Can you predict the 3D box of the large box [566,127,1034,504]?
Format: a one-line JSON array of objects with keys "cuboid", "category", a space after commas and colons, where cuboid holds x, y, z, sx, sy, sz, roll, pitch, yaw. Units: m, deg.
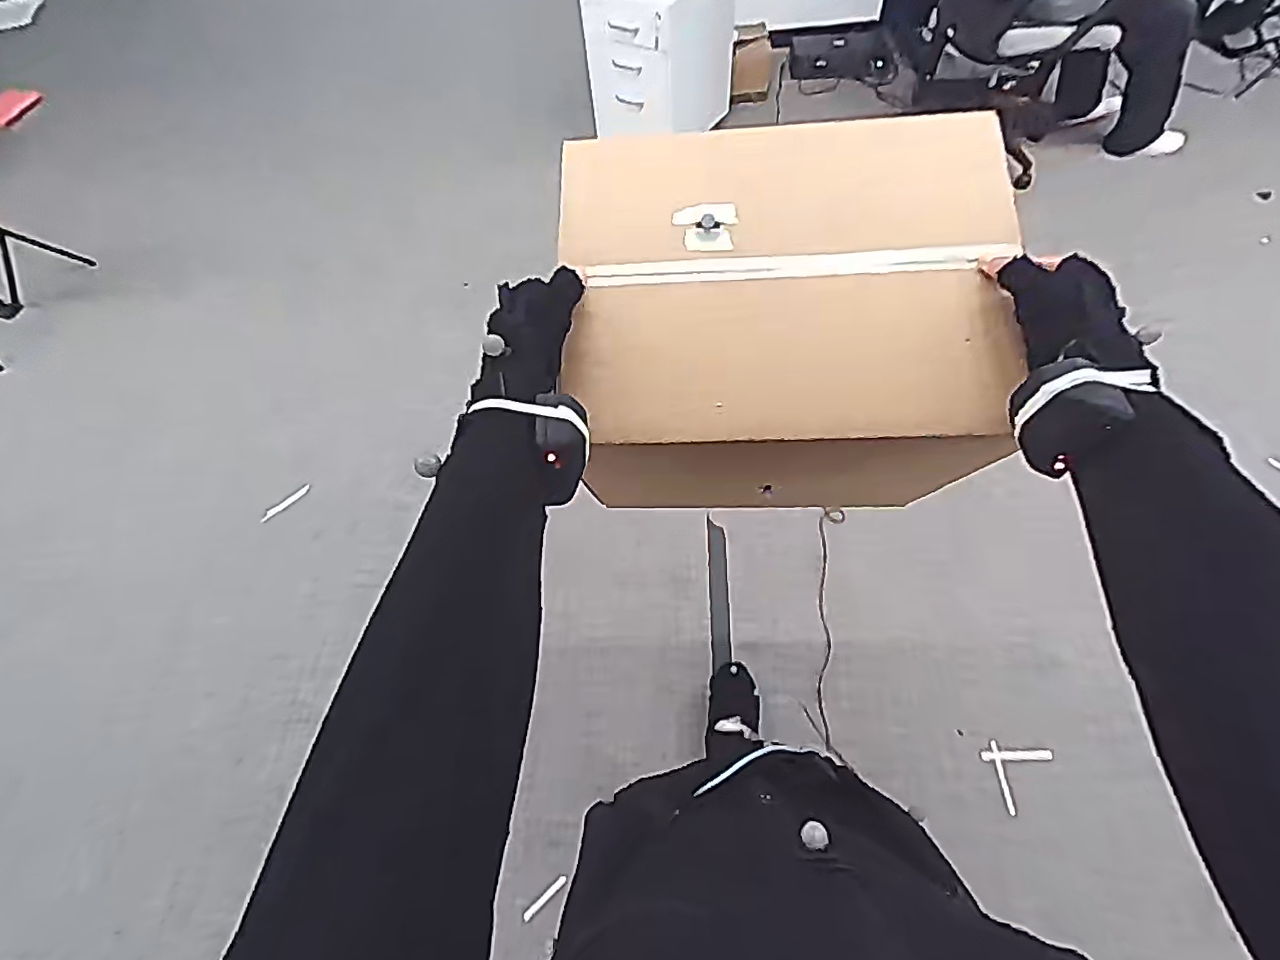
[{"cuboid": [0.145, -0.149, 0.643, 0.408, 0.320, 0.320, -1, 76, 5], "category": "large box"}]
